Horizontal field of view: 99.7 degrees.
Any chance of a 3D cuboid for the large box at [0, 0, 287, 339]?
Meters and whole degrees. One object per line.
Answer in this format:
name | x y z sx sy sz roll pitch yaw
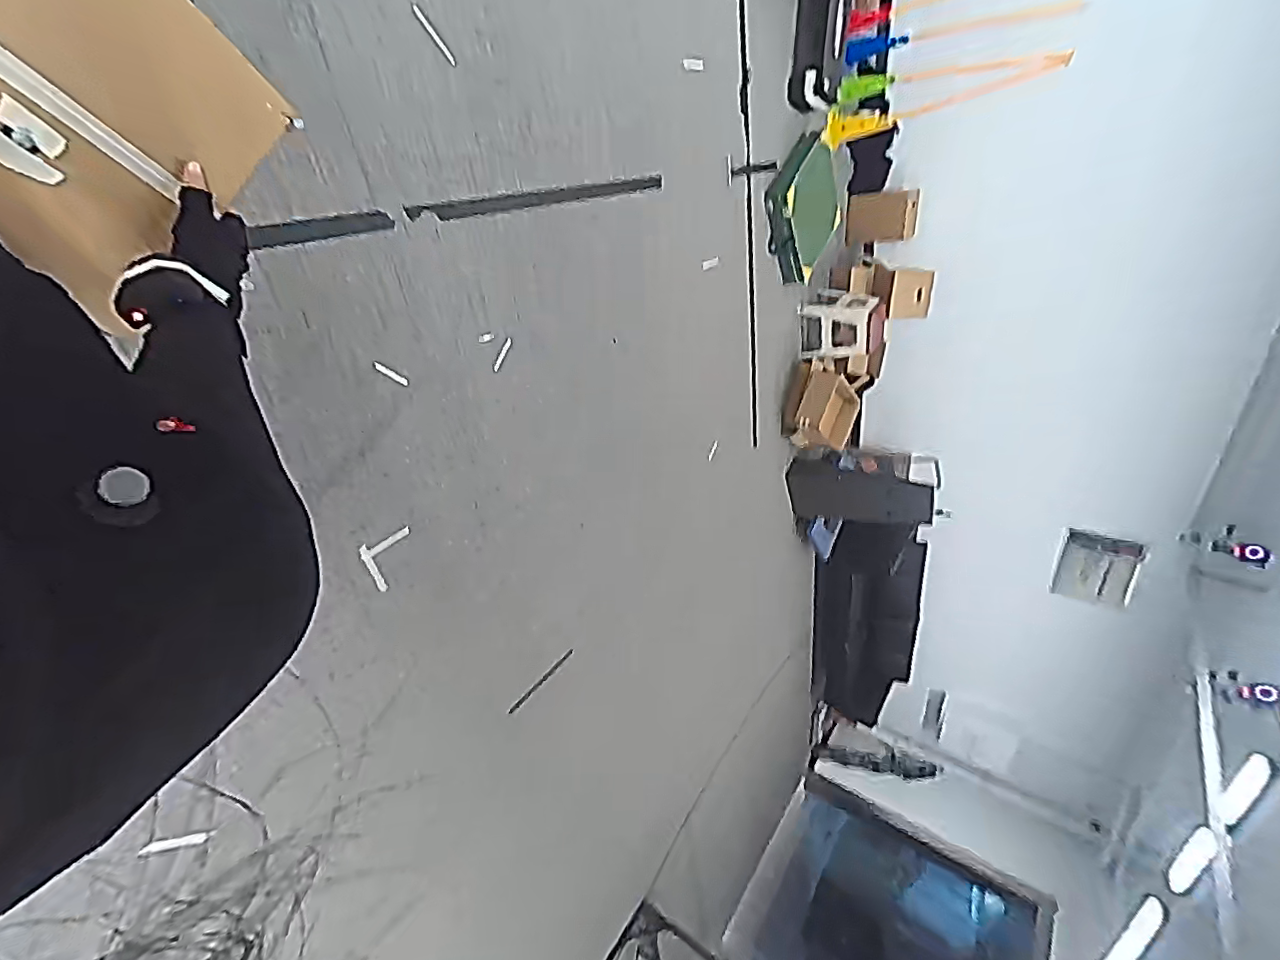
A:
large box | -0.660 -0.393 0.487 0.320 0.320 0.408 -62 151 -10
